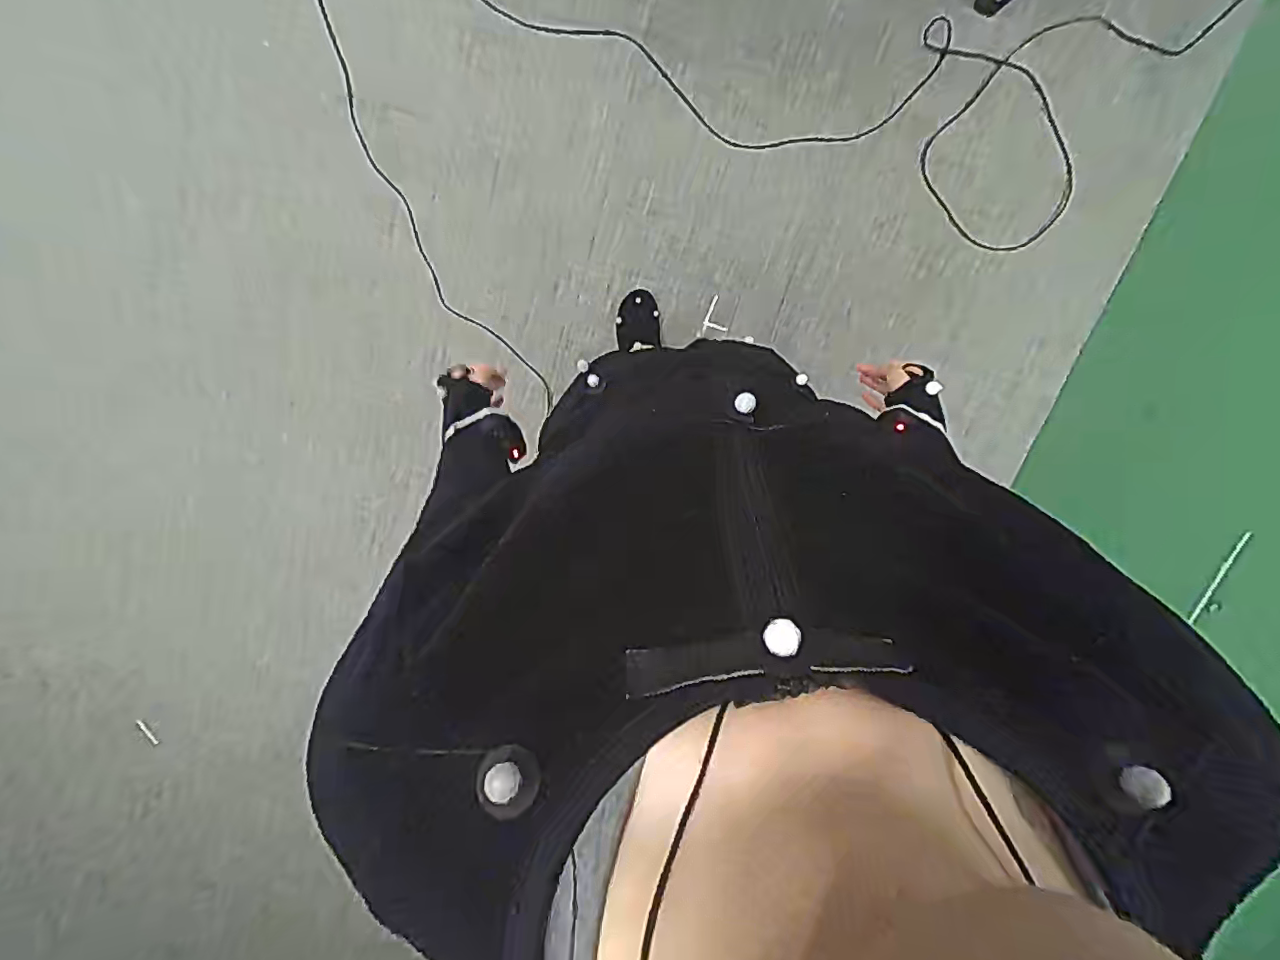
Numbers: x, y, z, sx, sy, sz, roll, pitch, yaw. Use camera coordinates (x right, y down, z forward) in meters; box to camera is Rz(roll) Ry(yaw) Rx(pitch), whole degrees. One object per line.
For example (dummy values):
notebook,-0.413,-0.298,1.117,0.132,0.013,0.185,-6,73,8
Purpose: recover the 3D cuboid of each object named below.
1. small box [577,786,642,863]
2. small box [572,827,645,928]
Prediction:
small box,-0.098,1.126,1.746,0.179,0.176,0.168,12,105,-6
small box,-0.093,1.159,1.586,0.179,0.176,0.168,12,105,-6
